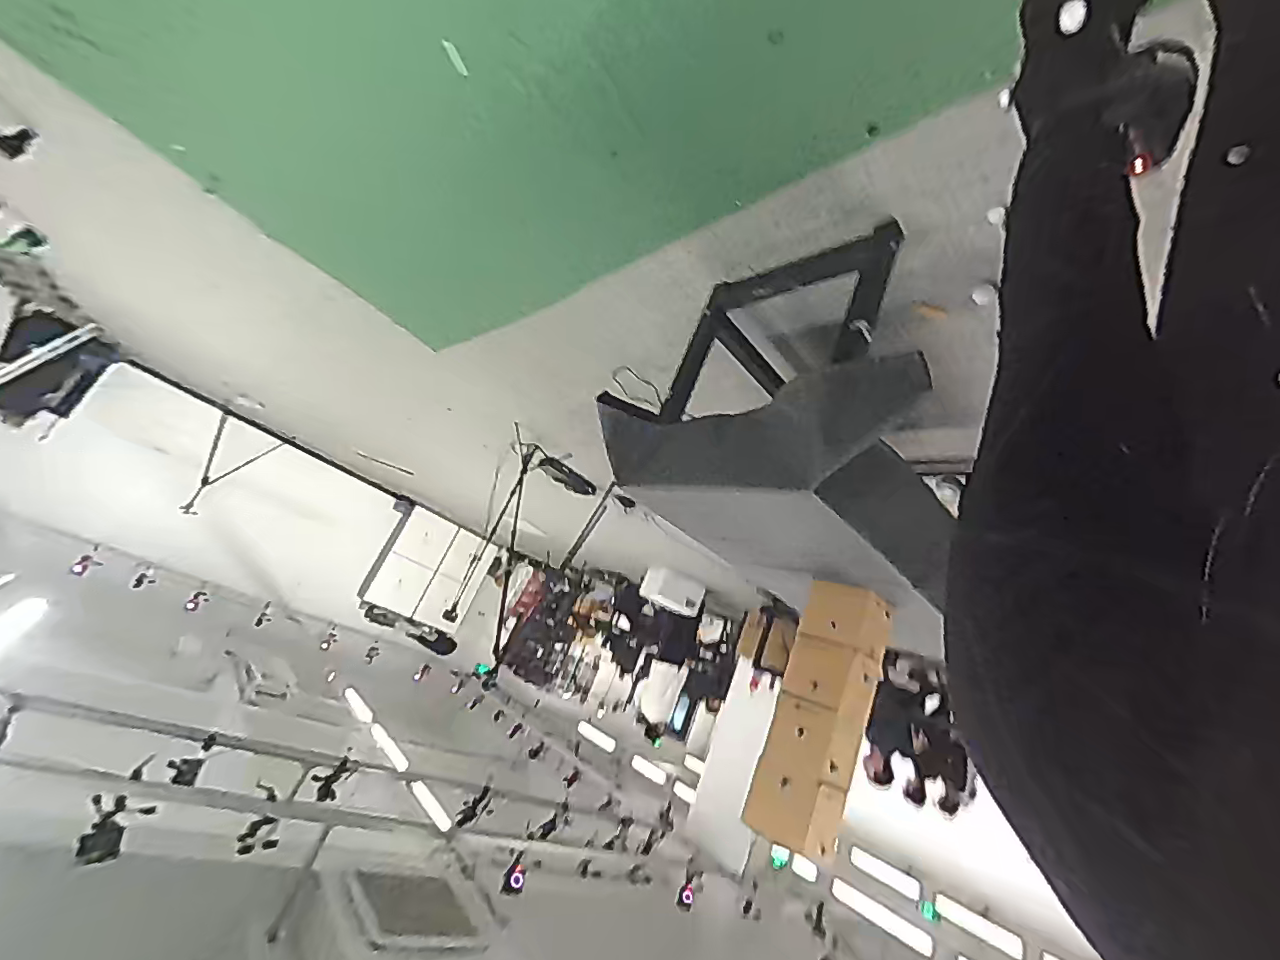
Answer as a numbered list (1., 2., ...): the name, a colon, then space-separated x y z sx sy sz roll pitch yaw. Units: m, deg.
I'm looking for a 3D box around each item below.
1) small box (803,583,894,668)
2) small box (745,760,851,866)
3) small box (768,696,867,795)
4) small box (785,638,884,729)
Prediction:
1. small box: 0.592 0.403 1.516 0.168 0.176 0.179 37 159 -33
2. small box: 0.398 0.823 1.354 0.179 0.176 0.168 2 151 48
3. small box: 0.465 0.684 1.408 0.168 0.176 0.179 2 151 49
4. small box: 0.529 0.543 1.464 0.168 0.176 0.179 37 157 -33
